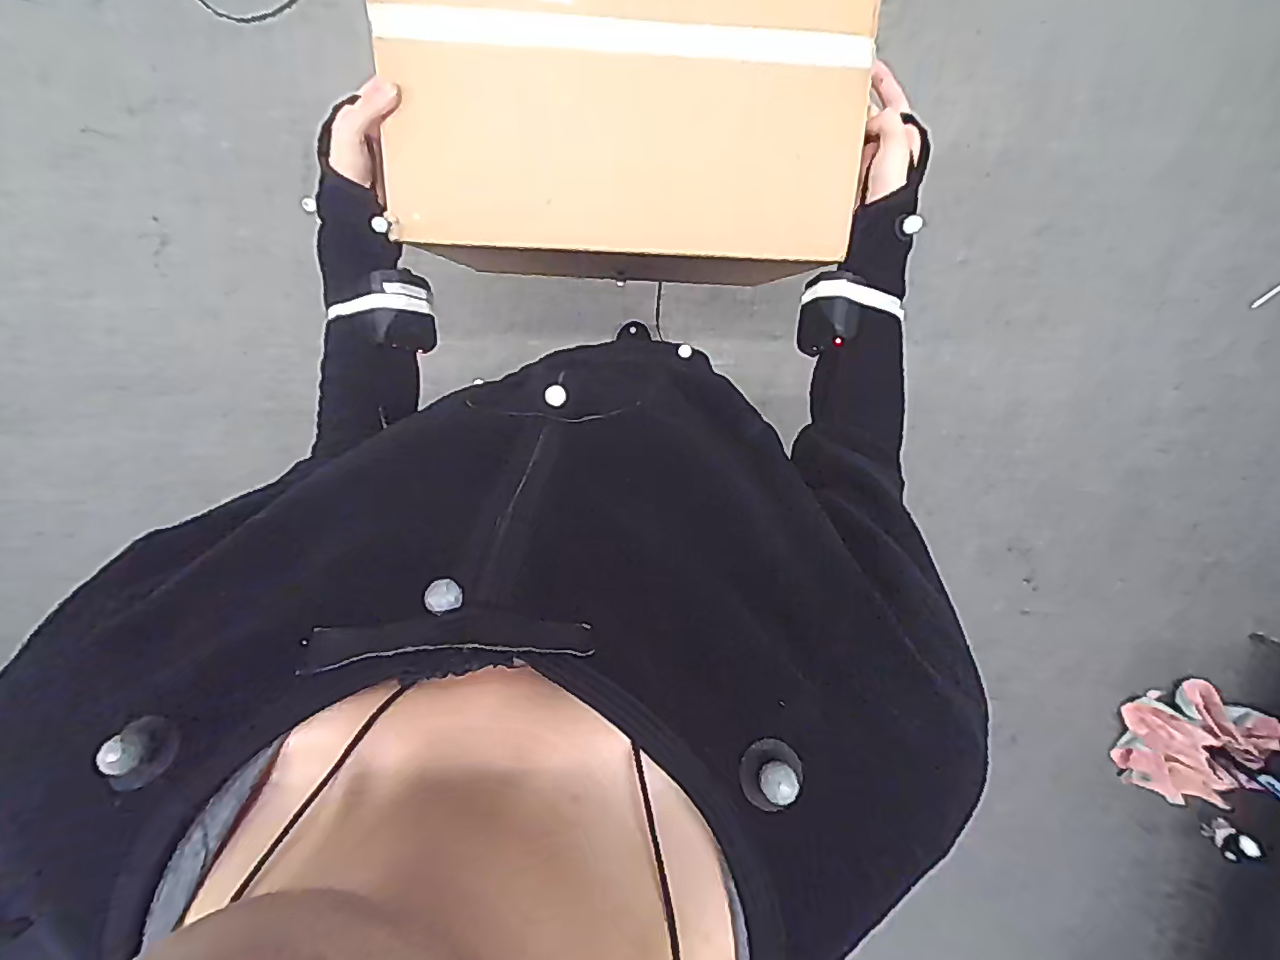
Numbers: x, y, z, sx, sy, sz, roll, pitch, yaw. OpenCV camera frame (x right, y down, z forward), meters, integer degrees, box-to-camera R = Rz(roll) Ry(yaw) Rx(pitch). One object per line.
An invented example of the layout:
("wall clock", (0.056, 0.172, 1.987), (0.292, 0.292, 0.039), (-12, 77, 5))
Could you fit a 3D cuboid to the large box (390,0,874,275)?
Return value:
("large box", (-0.009, -0.401, 0.593), (0.408, 0.320, 0.320), (1, 105, -3))
